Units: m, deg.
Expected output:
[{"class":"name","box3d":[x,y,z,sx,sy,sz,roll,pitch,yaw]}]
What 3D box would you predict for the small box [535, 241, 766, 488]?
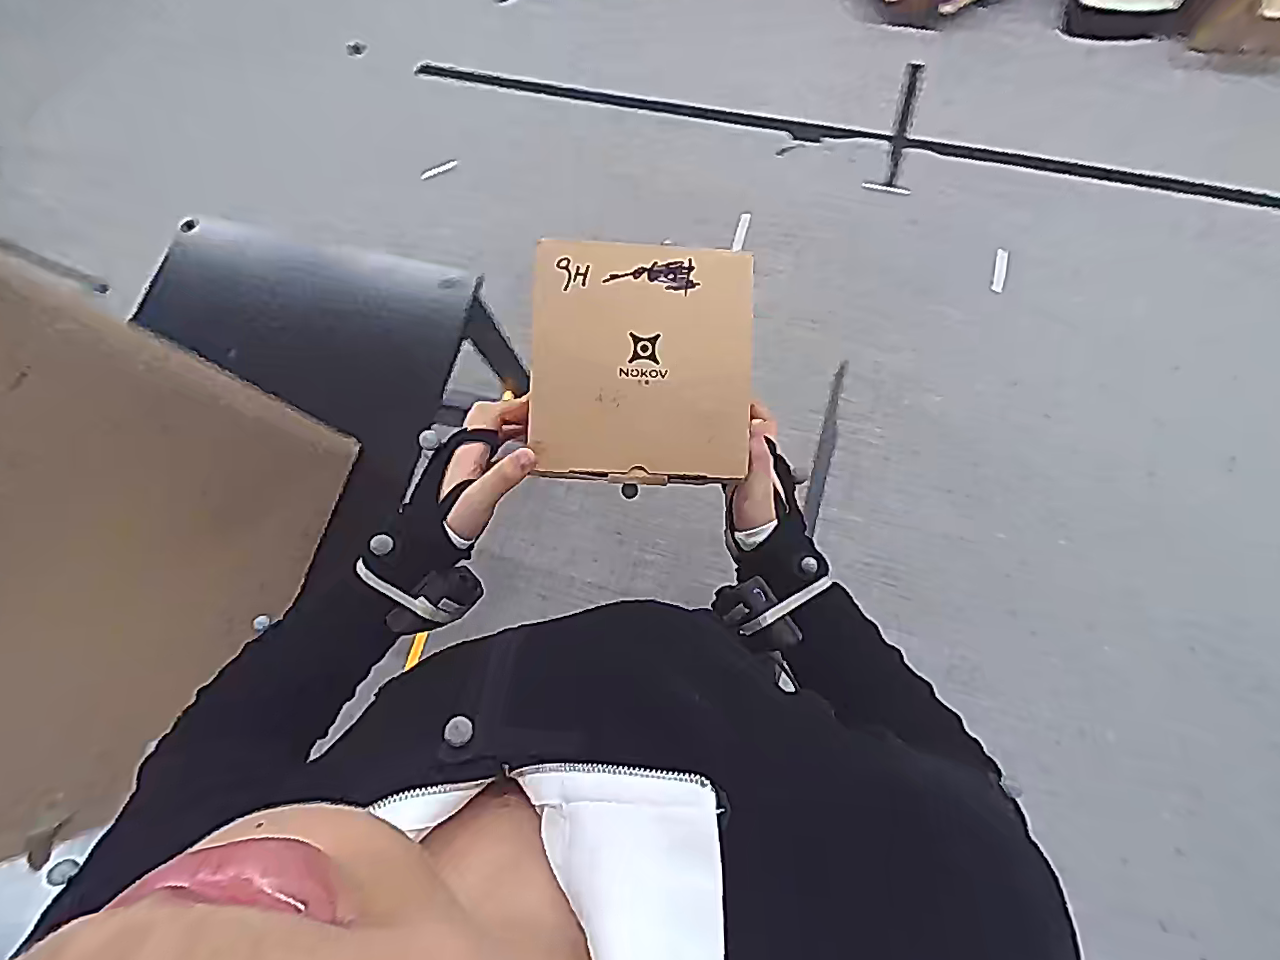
[{"class":"small box","box3d":[0.004,-0.085,0.482,0.168,0.176,0.179,3,89,-4]}]
